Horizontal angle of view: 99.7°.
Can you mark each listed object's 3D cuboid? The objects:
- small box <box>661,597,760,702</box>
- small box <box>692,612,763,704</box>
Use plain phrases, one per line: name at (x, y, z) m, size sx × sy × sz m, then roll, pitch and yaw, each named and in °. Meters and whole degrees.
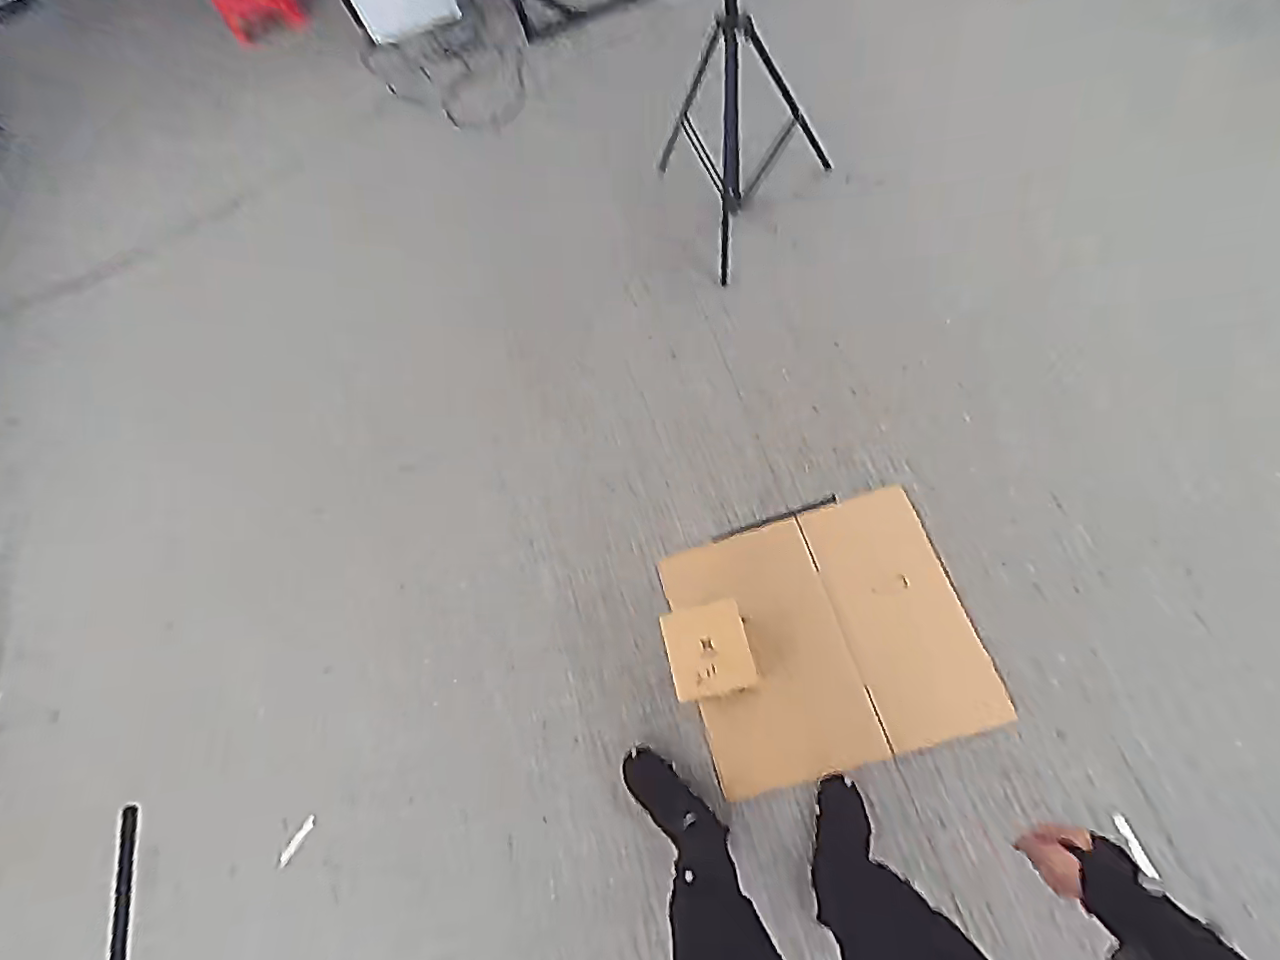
small box at (0.151, 0.365, 1.153) m, size 0.168 × 0.176 × 0.179 m, roll -16°, pitch 68°, yaw 6°
small box at (0.193, 0.426, 1.302) m, size 0.168 × 0.176 × 0.179 m, roll -16°, pitch 68°, yaw 5°
